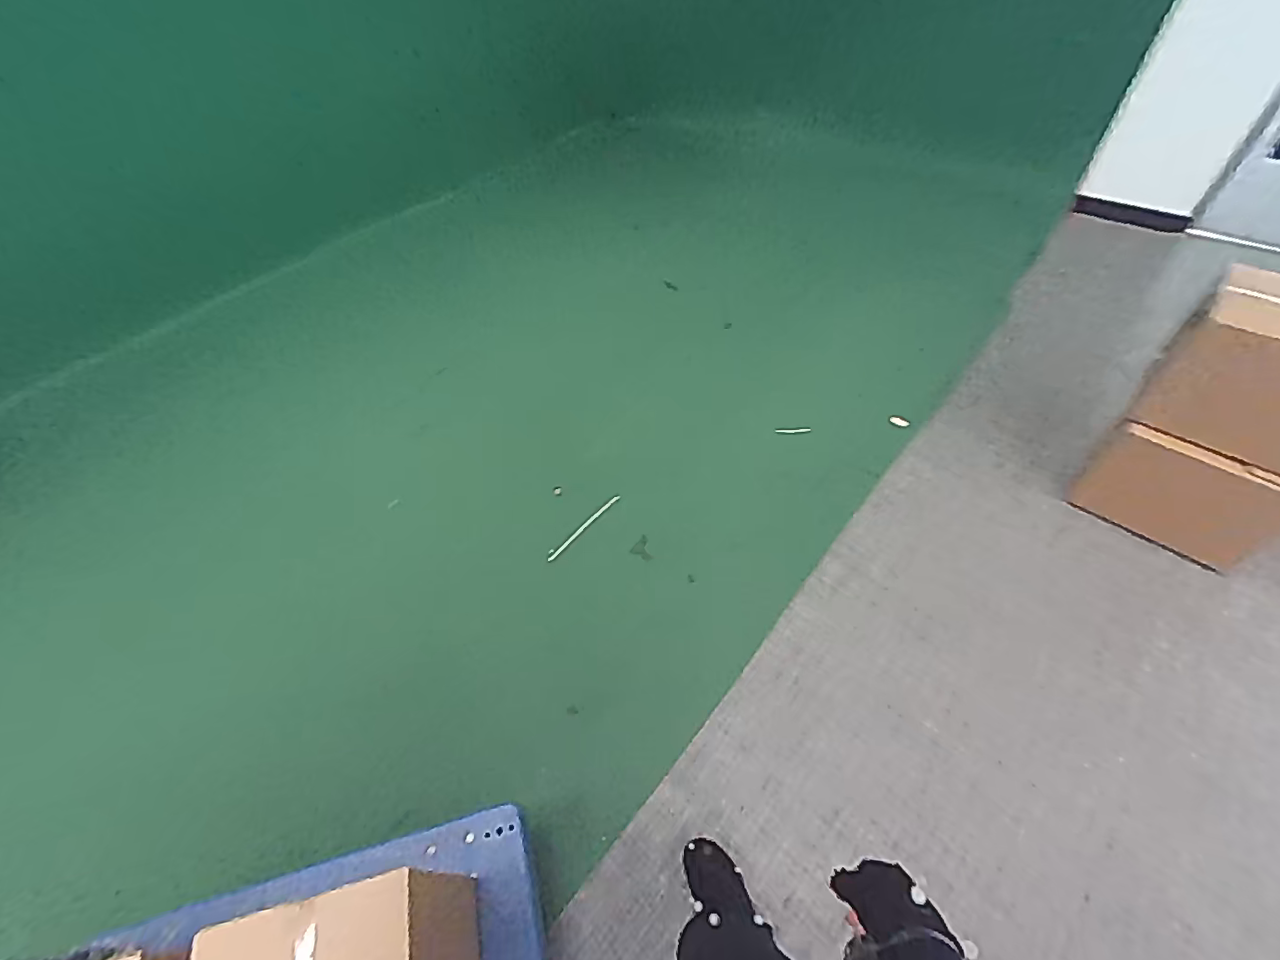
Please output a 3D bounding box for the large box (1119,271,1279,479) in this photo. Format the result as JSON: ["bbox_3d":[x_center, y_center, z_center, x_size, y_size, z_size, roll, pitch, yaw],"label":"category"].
[{"bbox_3d":[1.521,-0.254,1.325,0.408,0.320,0.320,33,58,27],"label":"large box"}]
